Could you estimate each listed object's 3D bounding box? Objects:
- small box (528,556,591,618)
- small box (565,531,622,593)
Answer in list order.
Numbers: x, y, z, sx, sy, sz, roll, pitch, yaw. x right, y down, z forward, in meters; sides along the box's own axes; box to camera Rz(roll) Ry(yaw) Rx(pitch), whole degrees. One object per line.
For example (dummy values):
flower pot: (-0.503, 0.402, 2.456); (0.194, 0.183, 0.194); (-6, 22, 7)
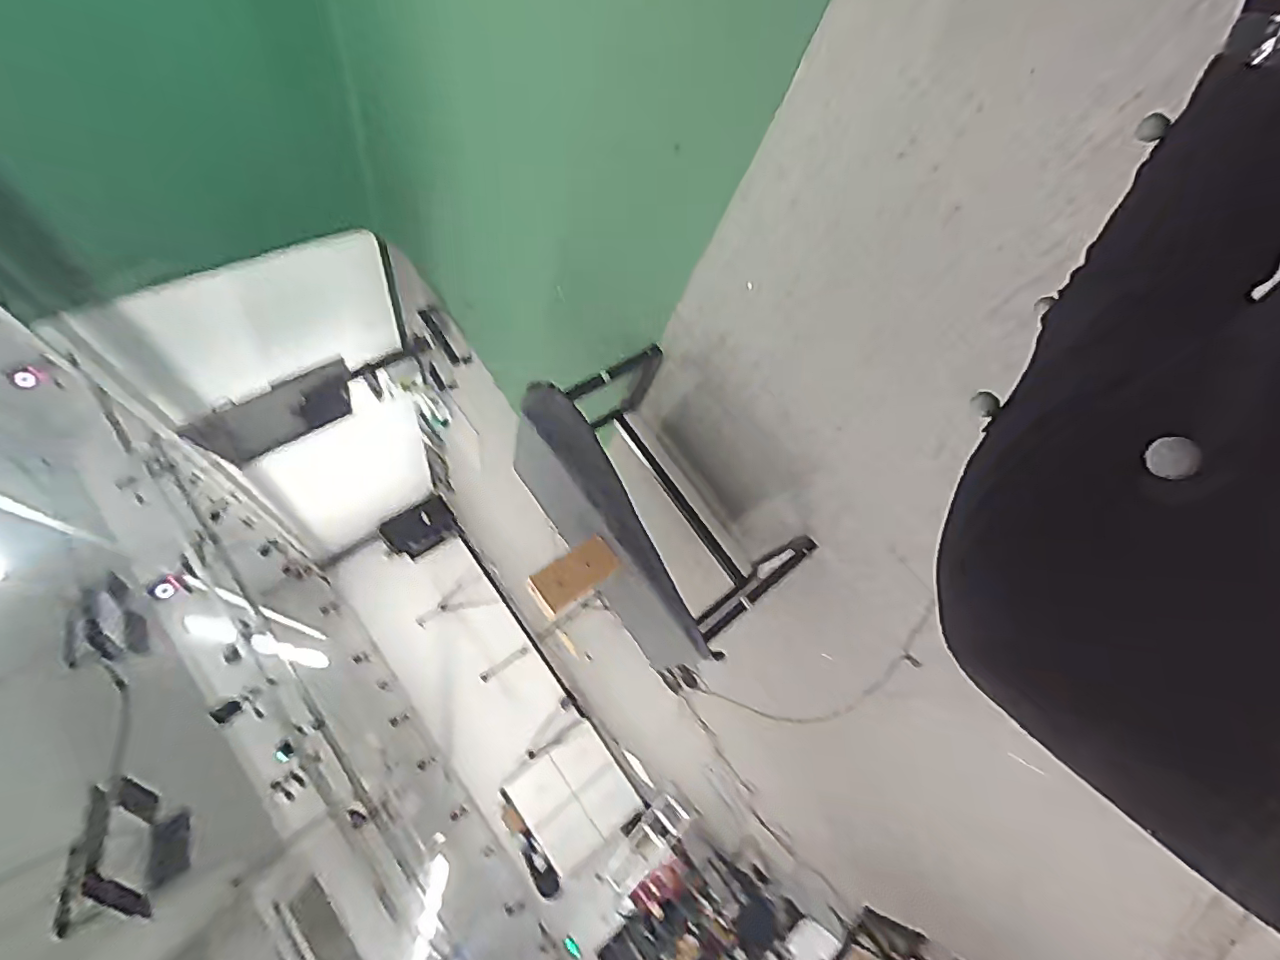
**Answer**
small box: (-0.322, 0.422, 2.162); (0.179, 0.176, 0.168); (51, 154, 9)
small box: (-0.196, 0.339, 2.228); (0.179, 0.176, 0.168); (54, 154, 9)
